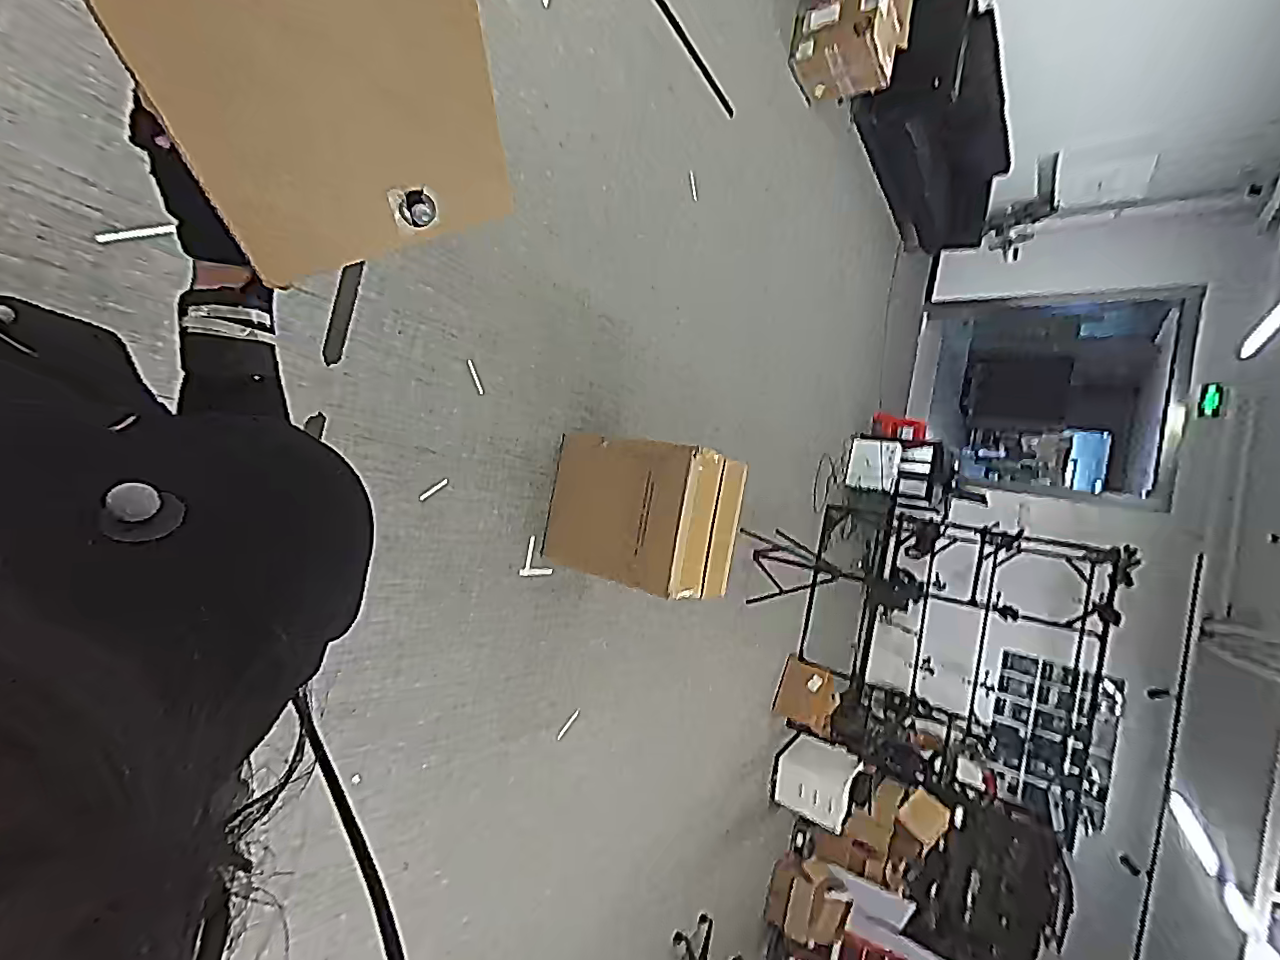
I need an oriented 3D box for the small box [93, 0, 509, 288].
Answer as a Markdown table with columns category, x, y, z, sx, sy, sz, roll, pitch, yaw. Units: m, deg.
| category | x | y | z | sx | sy | sz | roll | pitch | yaw |
| --- | --- | --- | --- | --- | --- | --- | --- | --- | --- |
| small box | -0.199 | -0.254 | 0.320 | 0.168 | 0.179 | 0.176 | -28 | 150 | -21 |
